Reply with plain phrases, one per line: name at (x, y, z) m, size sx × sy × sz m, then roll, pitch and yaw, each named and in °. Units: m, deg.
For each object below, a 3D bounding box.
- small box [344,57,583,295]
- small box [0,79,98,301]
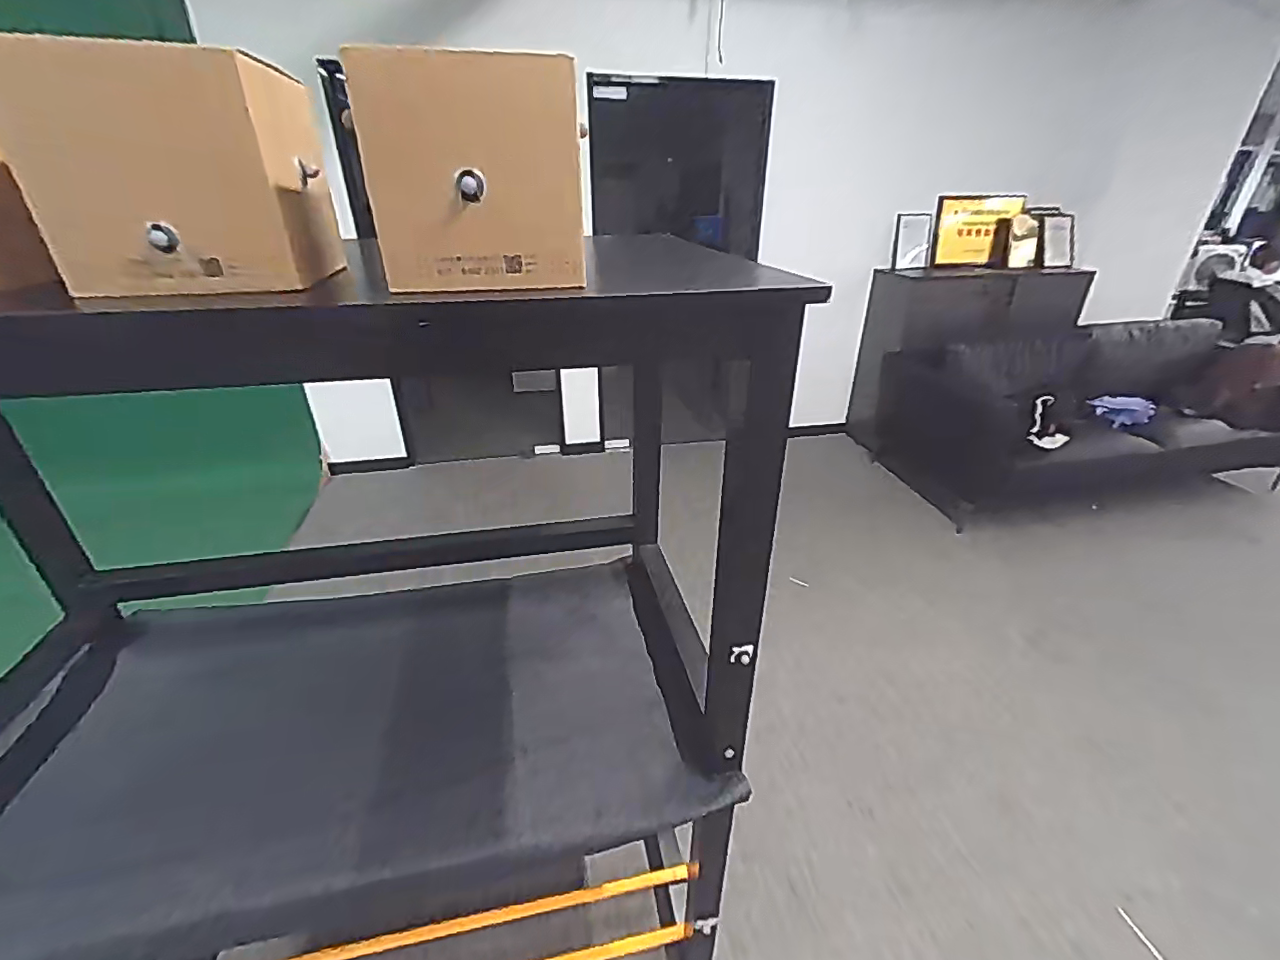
small box at (-0.144, -0.270, 0.503) m, size 0.168 × 0.176 × 0.179 m, roll -4°, pitch 28°, yaw -9°
small box at (-0.614, -0.233, 0.438) m, size 0.168 × 0.176 × 0.179 m, roll -5°, pitch 28°, yaw -9°
